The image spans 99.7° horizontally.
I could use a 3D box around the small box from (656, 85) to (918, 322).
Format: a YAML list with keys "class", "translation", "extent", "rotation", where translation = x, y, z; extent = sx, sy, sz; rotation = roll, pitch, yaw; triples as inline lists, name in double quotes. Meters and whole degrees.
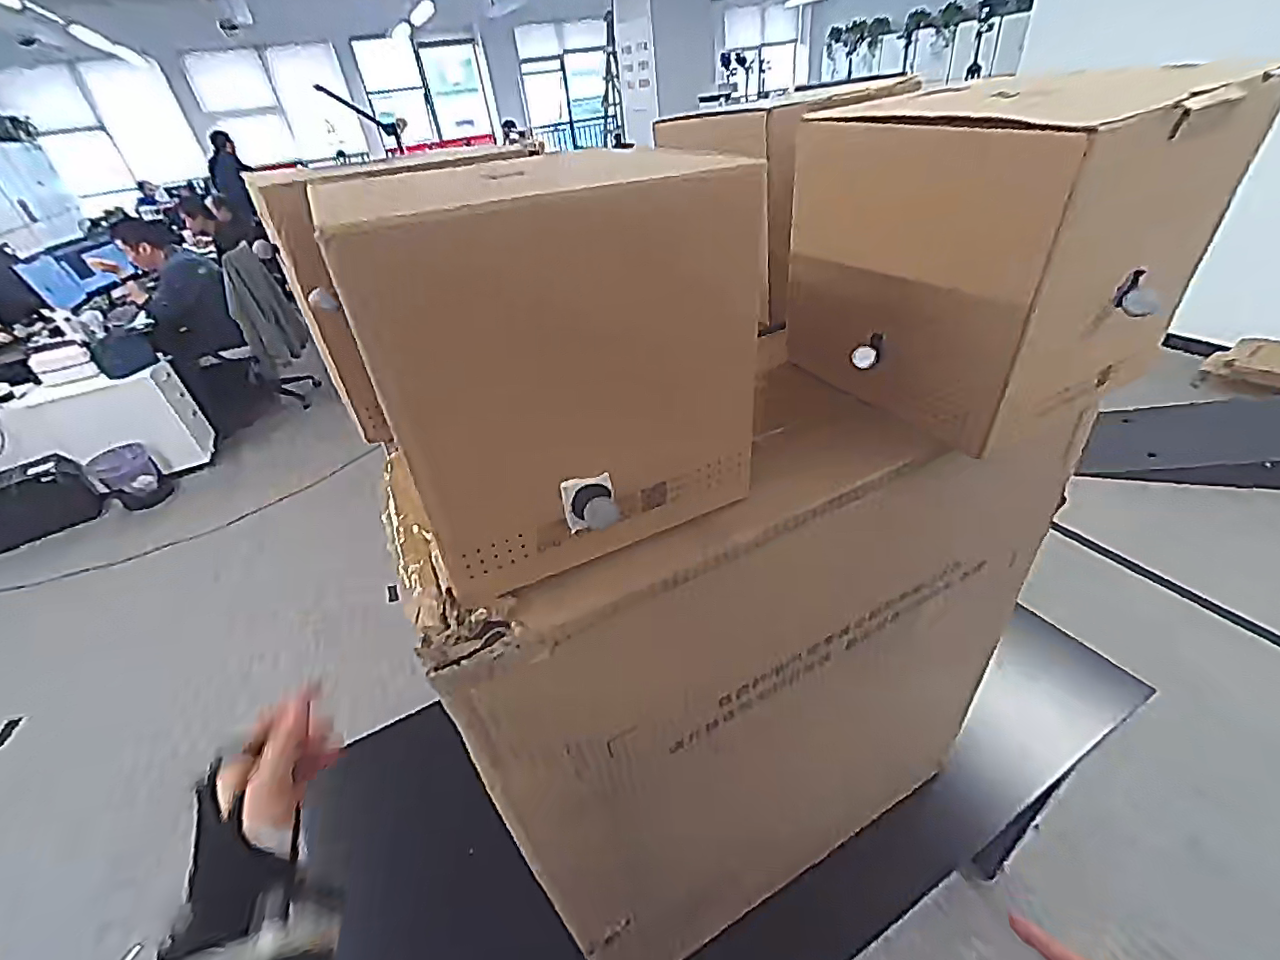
- class: "small box"
  translation: [0.135, -0.268, 0.535]
  extent: [0.168, 0.176, 0.179]
  rotation: [-24, 36, -19]

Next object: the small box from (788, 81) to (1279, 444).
- class: "small box"
  translation: [0.218, -0.142, 0.351]
  extent: [0.168, 0.176, 0.179]
  rotation: [-23, 41, -18]

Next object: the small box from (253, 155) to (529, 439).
- class: "small box"
  translation: [-0.181, -0.154, 0.436]
  extent: [0.168, 0.176, 0.179]
  rotation: [-25, 38, -25]

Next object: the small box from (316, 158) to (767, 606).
- class: "small box"
  translation: [-0.054, -0.067, 0.295]
  extent: [0.168, 0.176, 0.179]
  rotation: [-21, 38, -20]
